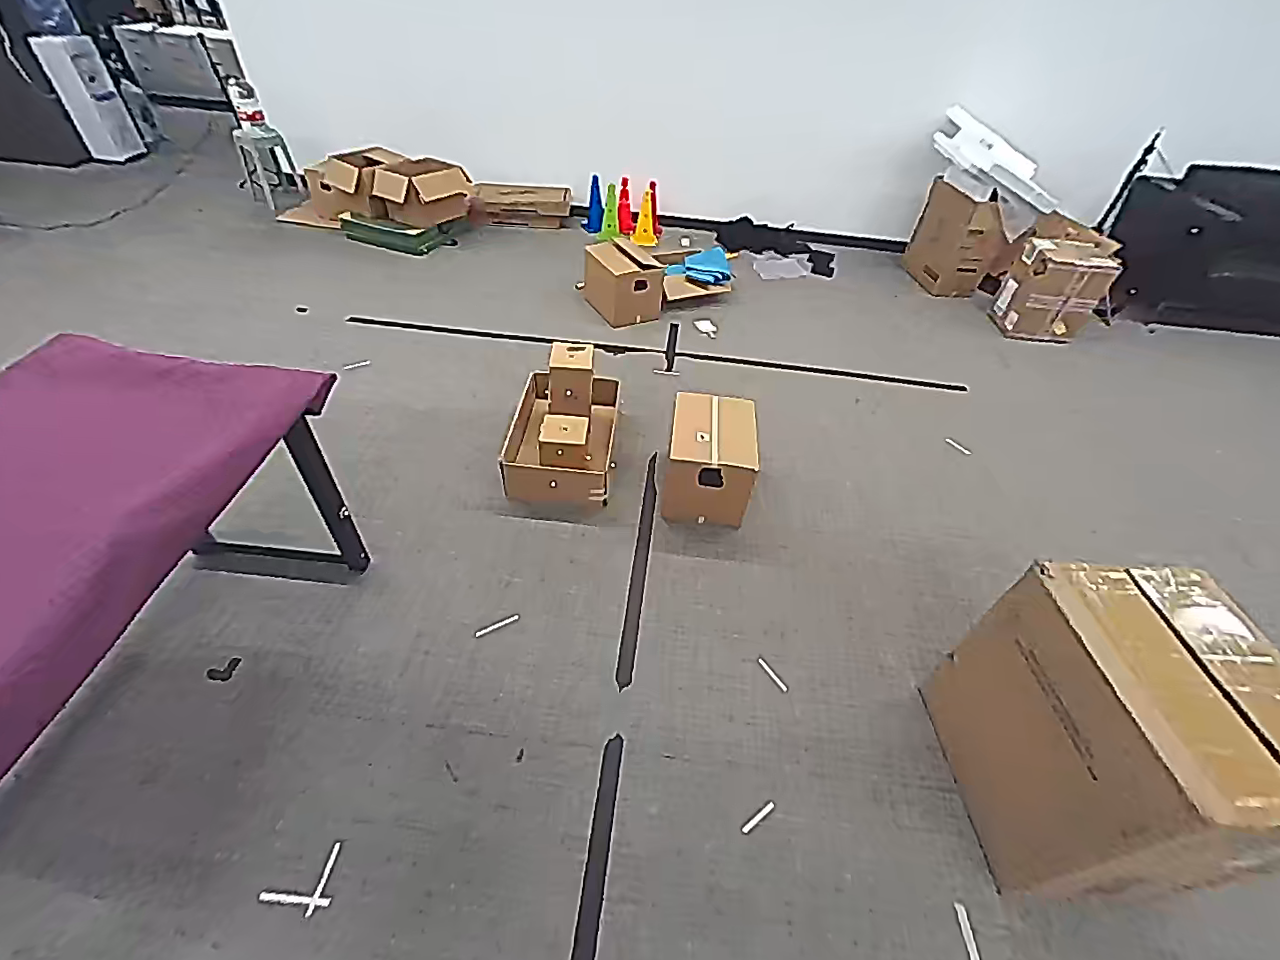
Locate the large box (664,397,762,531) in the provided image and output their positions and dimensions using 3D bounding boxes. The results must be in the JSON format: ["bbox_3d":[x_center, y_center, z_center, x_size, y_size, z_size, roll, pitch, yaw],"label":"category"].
[{"bbox_3d":[0.270,-0.067,2.092,0.320,0.320,0.408,6,45,2],"label":"large box"}]

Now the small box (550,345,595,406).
[{"bbox_3d":[-0.271,-0.423,2.191,0.168,0.176,0.179,3,46,-3],"label":"small box"}]

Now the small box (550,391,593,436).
[{"bbox_3d":[-0.293,-0.300,2.299,0.179,0.176,0.168,0,45,-7],"label":"small box"}]
